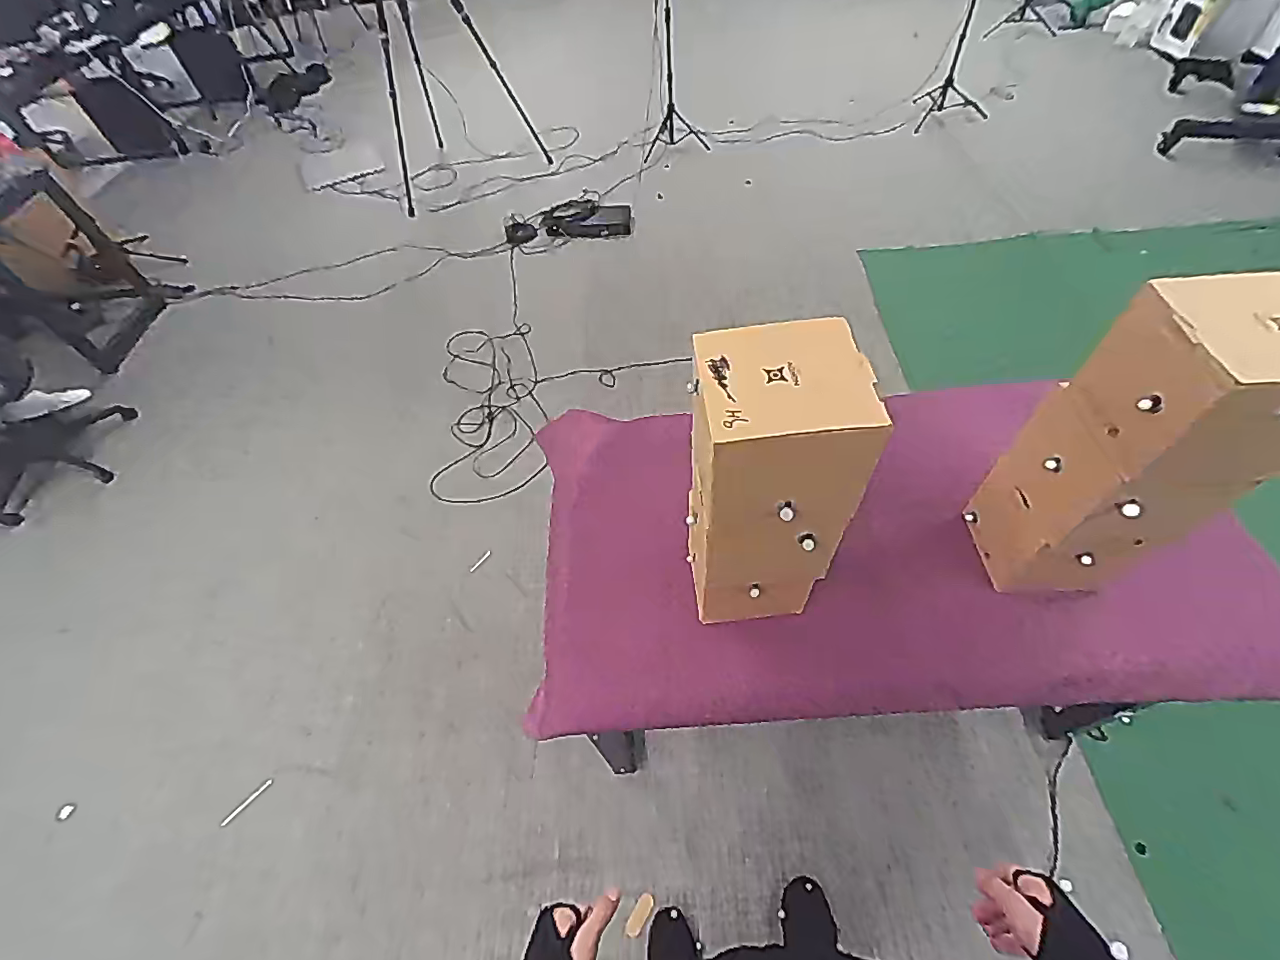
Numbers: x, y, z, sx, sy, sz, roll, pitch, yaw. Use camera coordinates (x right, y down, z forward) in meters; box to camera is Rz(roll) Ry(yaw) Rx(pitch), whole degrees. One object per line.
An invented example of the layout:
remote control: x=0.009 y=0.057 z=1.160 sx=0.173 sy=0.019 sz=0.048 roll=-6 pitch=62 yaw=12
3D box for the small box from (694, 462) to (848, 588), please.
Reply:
small box: x=0.170 y=0.040 z=0.765 sx=0.179 sy=0.176 sz=0.168 roll=-5 pitch=53 yaw=3

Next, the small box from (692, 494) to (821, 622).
small box: x=0.183 y=0.125 z=0.907 sx=0.179 sy=0.176 sz=0.168 roll=-7 pitch=54 yaw=3

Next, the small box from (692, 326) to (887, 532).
small box: x=0.155 y=-0.054 z=0.632 sx=0.179 sy=0.176 sz=0.168 roll=-5 pitch=53 yaw=2

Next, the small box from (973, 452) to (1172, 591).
small box: x=0.677 y=0.072 z=0.882 sx=0.179 sy=0.176 sz=0.168 roll=-3 pitch=53 yaw=5

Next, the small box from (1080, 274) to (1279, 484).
small box: x=0.647 y=-0.107 z=0.609 sx=0.179 sy=0.176 sz=0.168 roll=-1 pitch=54 yaw=6
